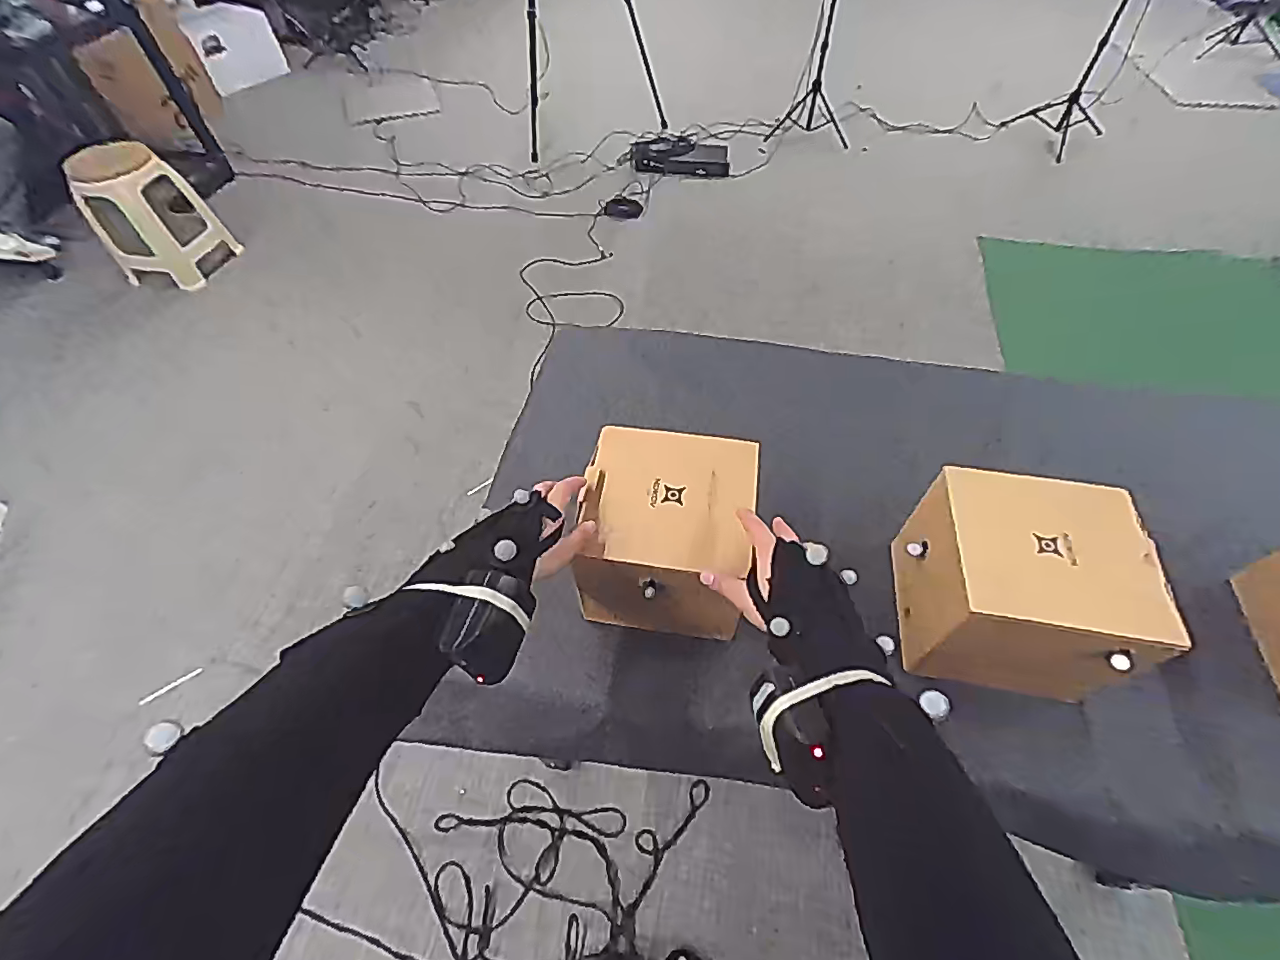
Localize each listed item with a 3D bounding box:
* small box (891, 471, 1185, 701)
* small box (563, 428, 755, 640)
[{"bbox_3d":[0.377,0.114,0.562,0.179,0.176,0.168,8,53,7],"label":"small box"},{"bbox_3d":[0.026,0.065,0.606,0.179,0.176,0.168,8,54,5],"label":"small box"}]
